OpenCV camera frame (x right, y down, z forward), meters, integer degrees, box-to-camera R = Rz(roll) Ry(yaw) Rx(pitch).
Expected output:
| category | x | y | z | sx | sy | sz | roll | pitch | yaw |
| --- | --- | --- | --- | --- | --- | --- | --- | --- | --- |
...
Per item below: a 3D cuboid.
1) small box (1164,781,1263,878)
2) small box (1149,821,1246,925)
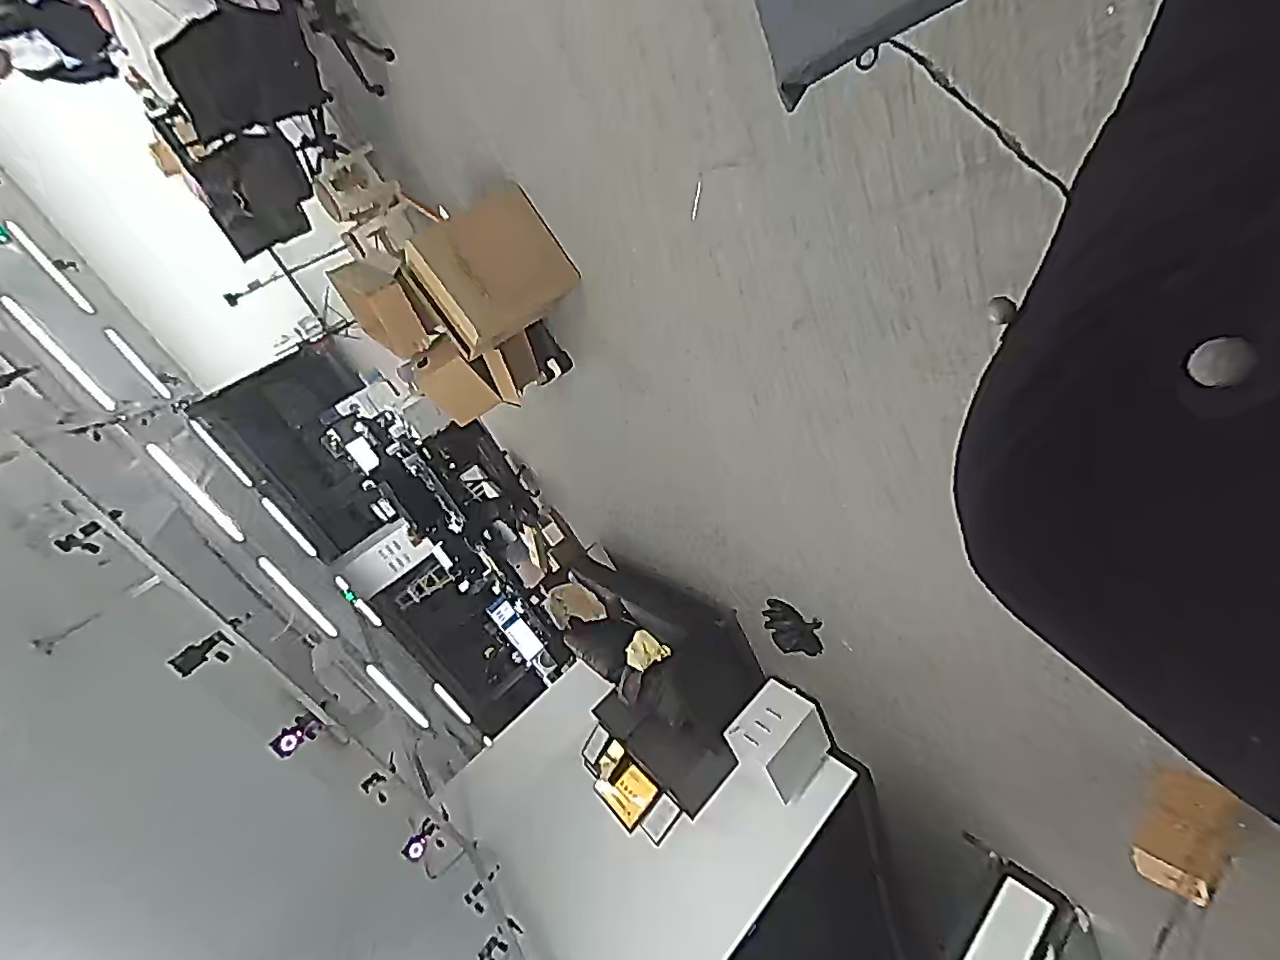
| category | x | y | z | sx | sy | sz | roll | pitch | yaw |
| --- | --- | --- | --- | --- | --- | --- | --- | --- | --- |
| small box | 1.865 | 1.125 | 1.758 | 0.168 | 0.176 | 0.179 | 58 | 157 | -17 |
| small box | 1.746 | 1.217 | 1.694 | 0.179 | 0.176 | 0.168 | 10 | 135 | 58 |
